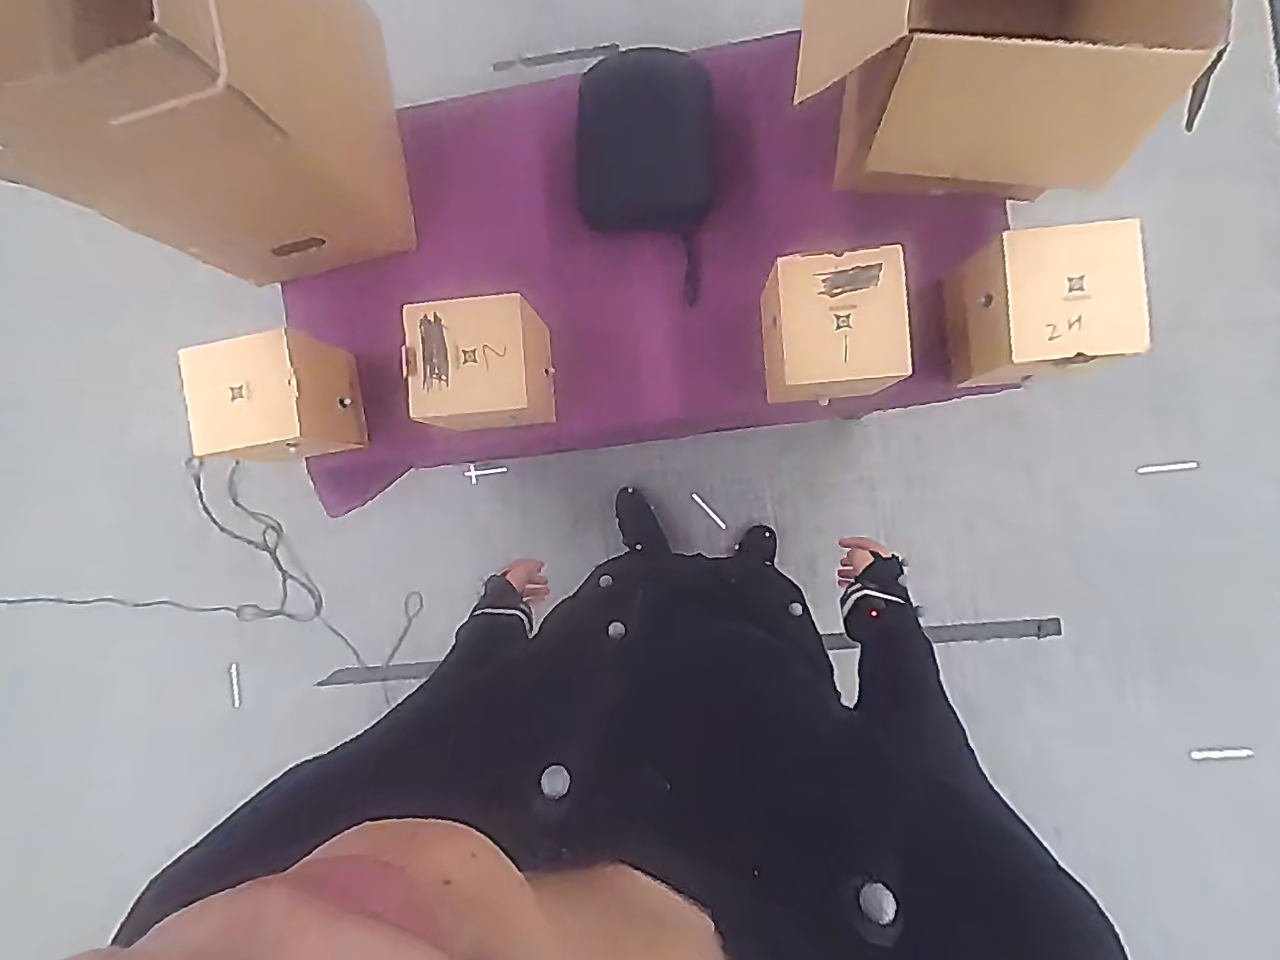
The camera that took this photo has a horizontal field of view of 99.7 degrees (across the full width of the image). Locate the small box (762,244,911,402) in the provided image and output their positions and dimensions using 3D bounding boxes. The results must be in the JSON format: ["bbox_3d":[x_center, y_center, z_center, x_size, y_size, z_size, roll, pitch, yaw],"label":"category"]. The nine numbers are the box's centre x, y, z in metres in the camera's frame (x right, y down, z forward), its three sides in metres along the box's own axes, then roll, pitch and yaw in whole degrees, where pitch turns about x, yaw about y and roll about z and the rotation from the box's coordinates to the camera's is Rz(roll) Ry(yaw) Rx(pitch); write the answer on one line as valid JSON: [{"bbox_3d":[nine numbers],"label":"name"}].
[{"bbox_3d":[0.277,-0.219,0.796,0.168,0.176,0.179,-4,90,6],"label":"small box"}]

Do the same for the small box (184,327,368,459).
[{"bbox_3d":[-0.580,-0.130,0.880,0.179,0.176,0.168,-10,89,4],"label":"small box"}]

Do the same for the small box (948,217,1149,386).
[{"bbox_3d":[0.559,-0.241,0.766,0.168,0.176,0.179,-3,89,6],"label":"small box"}]
